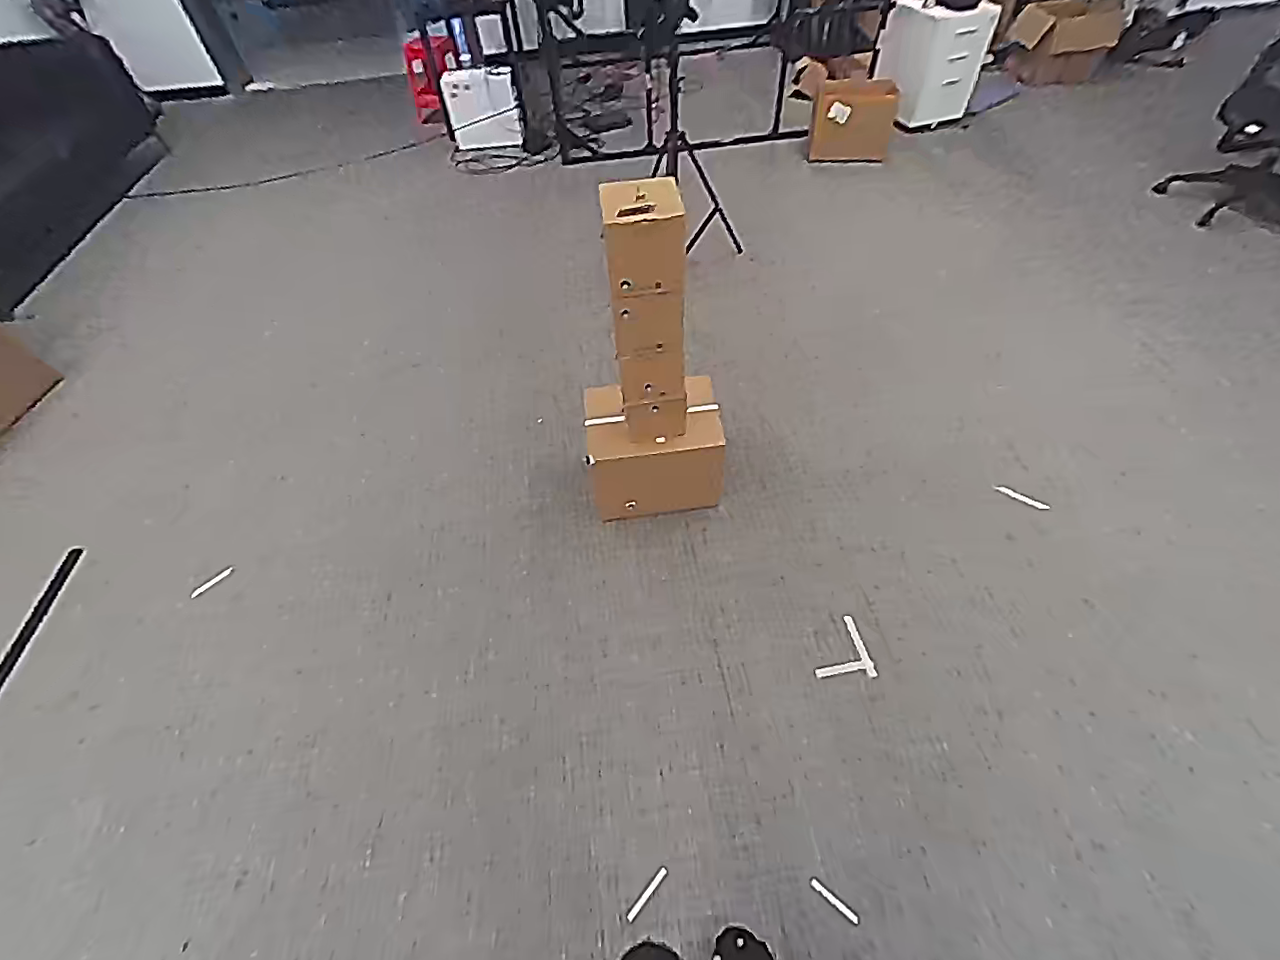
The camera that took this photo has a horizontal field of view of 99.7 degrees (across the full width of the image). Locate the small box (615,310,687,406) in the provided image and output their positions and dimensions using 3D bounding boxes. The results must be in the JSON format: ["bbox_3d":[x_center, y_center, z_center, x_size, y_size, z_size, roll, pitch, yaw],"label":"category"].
[{"bbox_3d":[0.028,-0.323,1.437,0.168,0.176,0.179,-8,53,-2],"label":"small box"}]

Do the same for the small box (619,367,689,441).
[{"bbox_3d":[0.042,-0.231,1.570,0.179,0.176,0.168,-9,53,-3],"label":"small box"}]

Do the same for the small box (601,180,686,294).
[{"bbox_3d":[0.010,-0.520,1.175,0.168,0.176,0.179,-7,52,-1],"label":"small box"}]
